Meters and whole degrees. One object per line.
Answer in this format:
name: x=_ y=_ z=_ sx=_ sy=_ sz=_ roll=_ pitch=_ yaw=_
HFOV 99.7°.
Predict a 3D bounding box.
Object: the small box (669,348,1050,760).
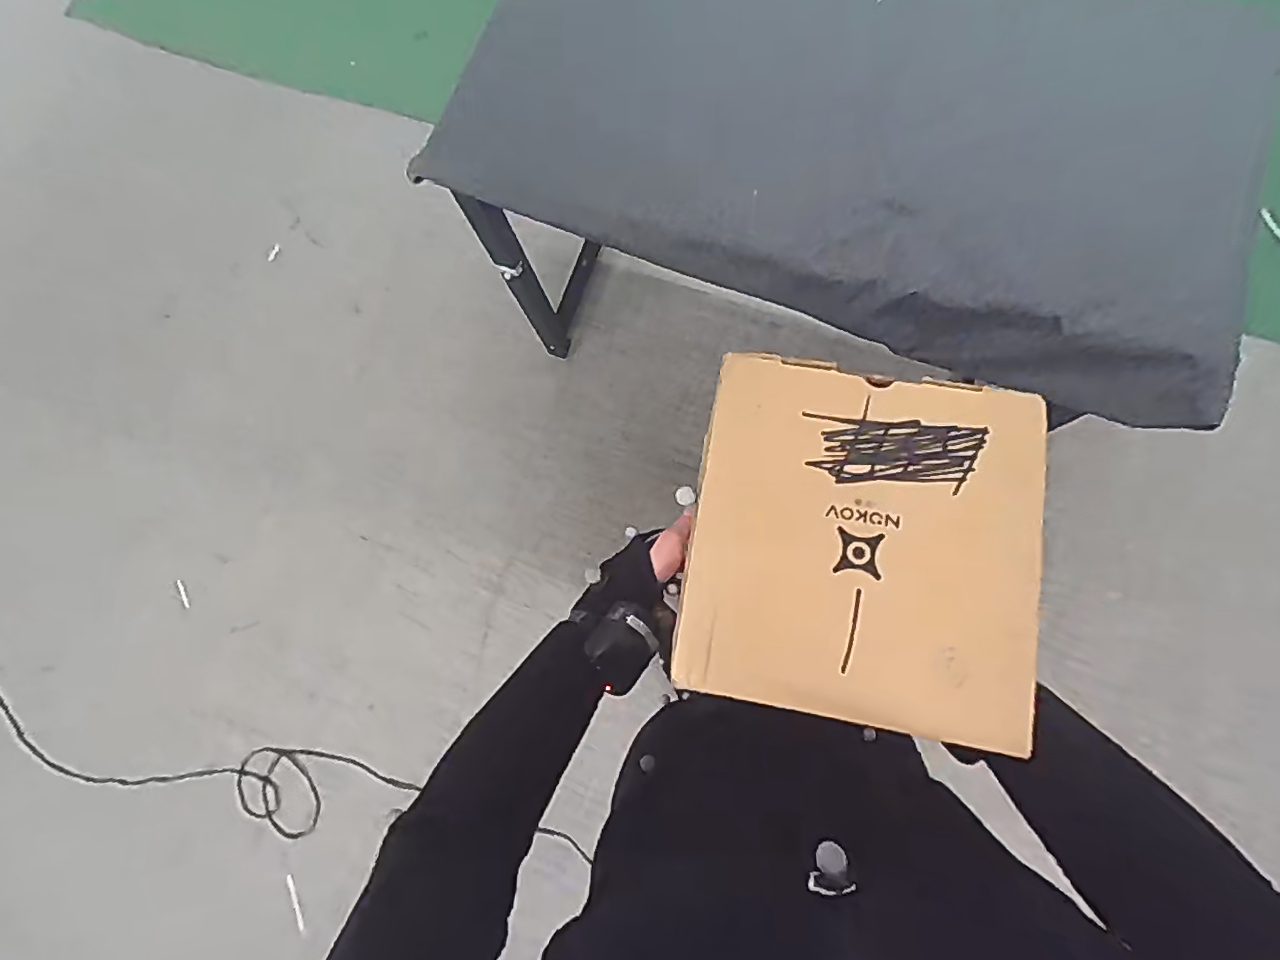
small box: x=0.114 y=0.042 z=0.341 sx=0.168 sy=0.176 sz=0.179 roll=10 pitch=81 yaw=7
